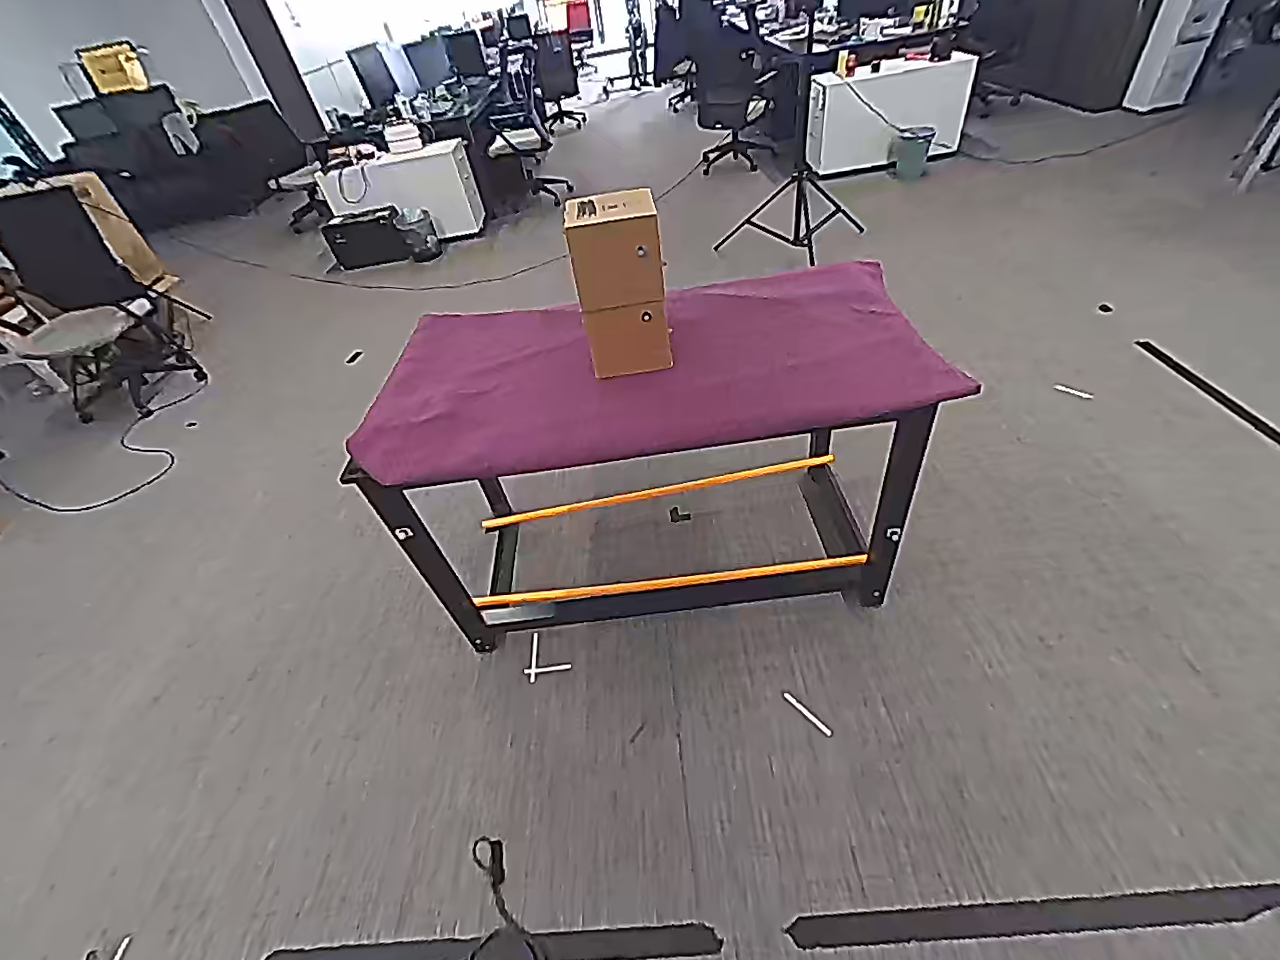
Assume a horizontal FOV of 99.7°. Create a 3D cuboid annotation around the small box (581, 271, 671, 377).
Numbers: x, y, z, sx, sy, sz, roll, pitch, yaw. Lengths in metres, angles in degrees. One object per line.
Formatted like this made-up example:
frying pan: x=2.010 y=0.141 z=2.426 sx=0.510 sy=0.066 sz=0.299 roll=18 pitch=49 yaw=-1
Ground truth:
small box: x=-0.029 y=-0.346 z=1.216 sx=0.179 sy=0.176 sz=0.168 roll=-7 pitch=43 yaw=3
